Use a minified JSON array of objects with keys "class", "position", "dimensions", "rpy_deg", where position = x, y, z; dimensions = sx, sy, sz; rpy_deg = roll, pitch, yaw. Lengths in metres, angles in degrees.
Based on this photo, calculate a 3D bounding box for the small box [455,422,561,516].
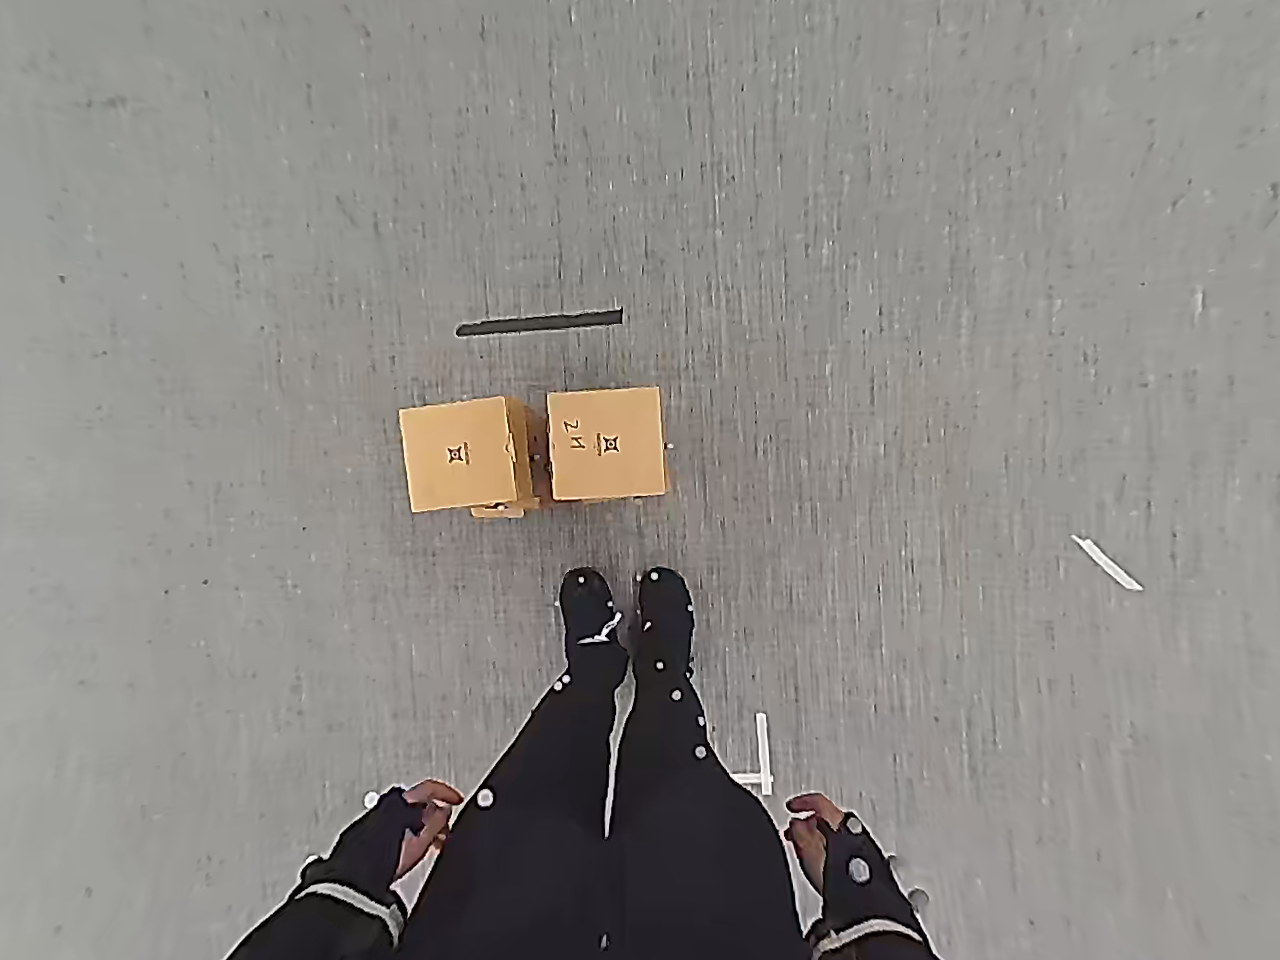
[{"class":"small box","position":[-0.257,-0.021,1.083],"dimensions":[0.168,0.176,0.179],"rpy_deg":[0,90,4]}]
